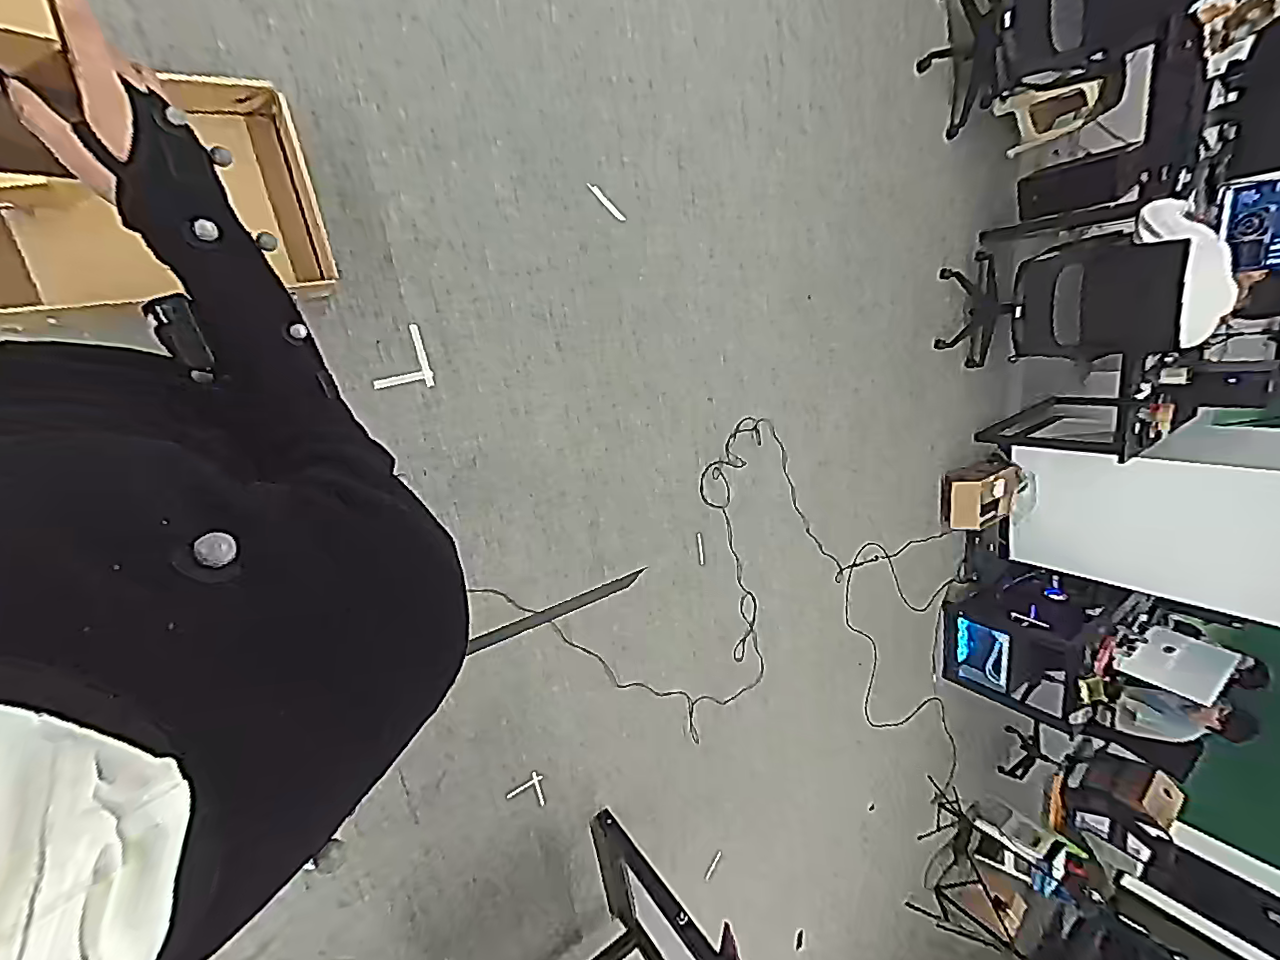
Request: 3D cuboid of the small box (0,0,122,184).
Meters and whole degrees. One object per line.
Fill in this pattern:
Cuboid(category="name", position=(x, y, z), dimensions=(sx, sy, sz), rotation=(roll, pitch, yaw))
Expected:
Cuboid(category="small box", position=(-0.517, -0.344, 0.391), dimensions=(0.179, 0.176, 0.168), rotation=(-12, 90, -33))
